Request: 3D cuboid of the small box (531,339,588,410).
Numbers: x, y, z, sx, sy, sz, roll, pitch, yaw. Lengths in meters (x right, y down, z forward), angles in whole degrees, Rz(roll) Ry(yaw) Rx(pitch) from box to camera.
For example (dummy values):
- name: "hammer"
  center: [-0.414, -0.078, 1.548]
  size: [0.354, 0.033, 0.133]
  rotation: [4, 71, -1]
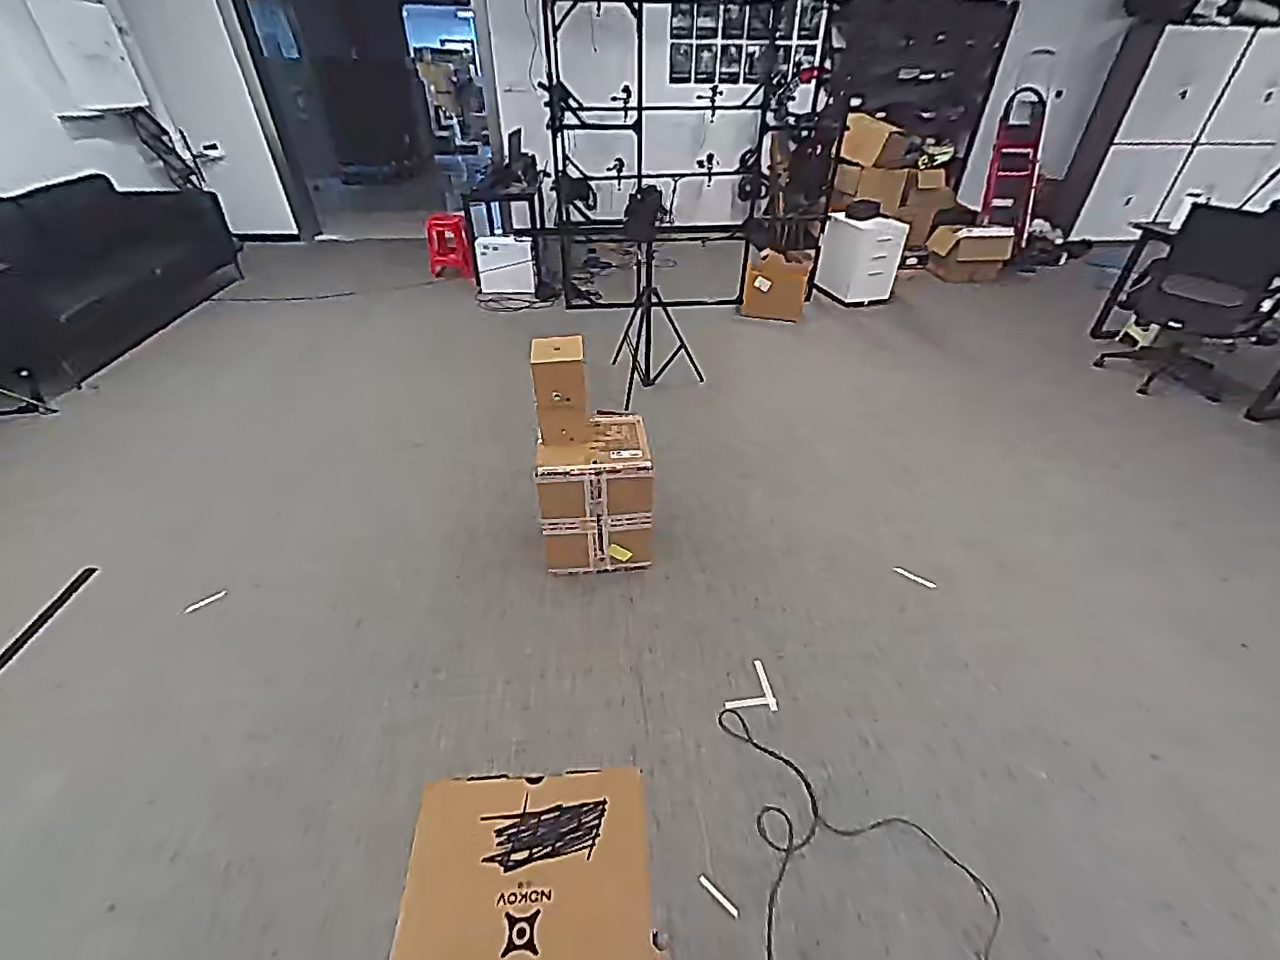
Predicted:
- name: "small box"
  center: [-0.263, -0.348, 1.787]
  size: [0.168, 0.176, 0.179]
  rotation: [-6, 41, -4]

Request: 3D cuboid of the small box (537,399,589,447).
- name: "small box"
  center: [-0.268, -0.235, 1.906]
  size: [0.168, 0.176, 0.179]
  rotation: [-5, 40, -4]
